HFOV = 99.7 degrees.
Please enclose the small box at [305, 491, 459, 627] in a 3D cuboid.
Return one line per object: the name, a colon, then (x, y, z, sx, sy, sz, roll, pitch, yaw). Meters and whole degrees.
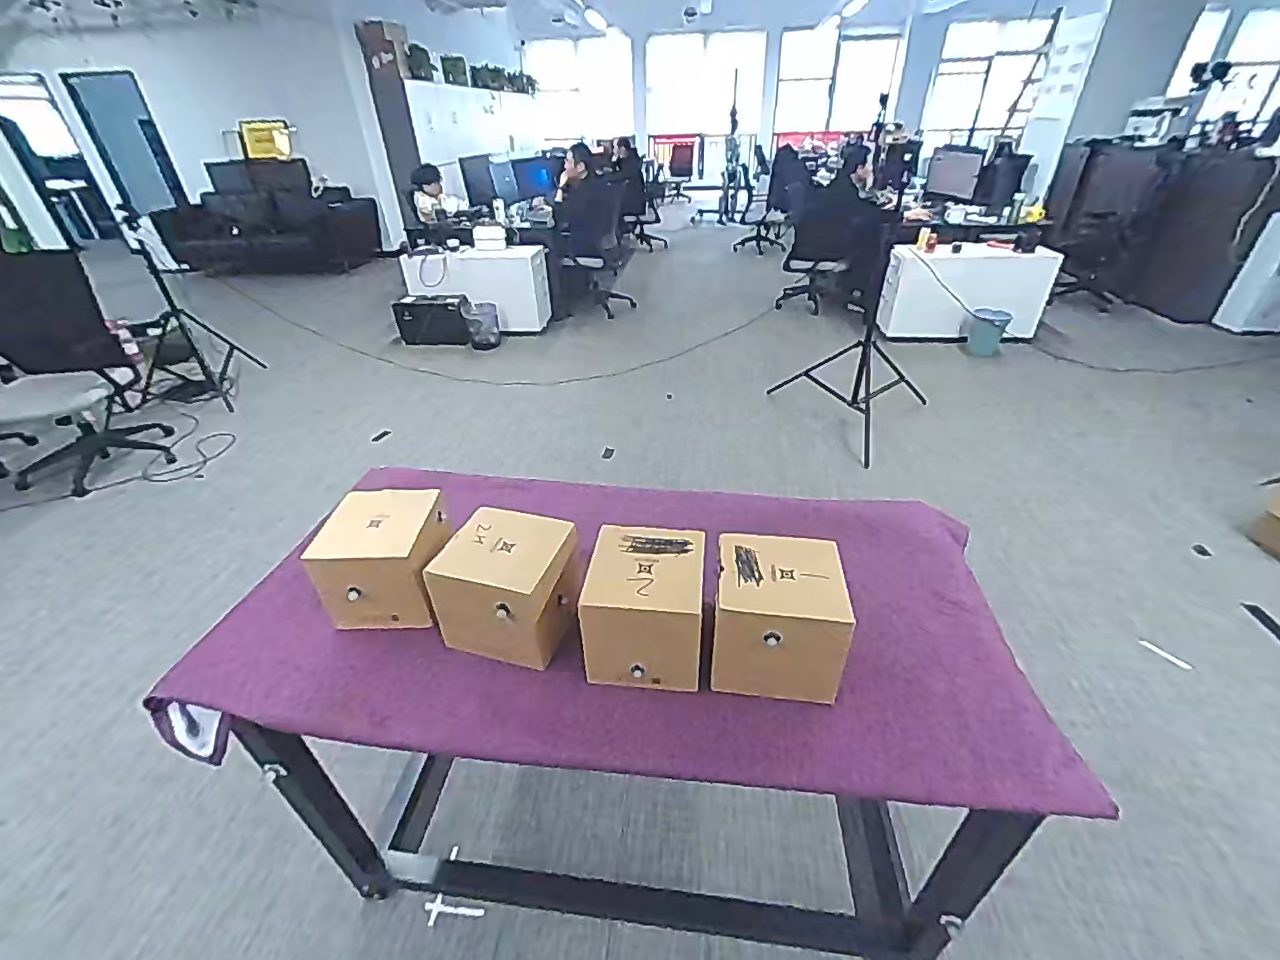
small box: (-0.427, 0.138, 0.931, 0.168, 0.176, 0.179, -2, 34, 0)
